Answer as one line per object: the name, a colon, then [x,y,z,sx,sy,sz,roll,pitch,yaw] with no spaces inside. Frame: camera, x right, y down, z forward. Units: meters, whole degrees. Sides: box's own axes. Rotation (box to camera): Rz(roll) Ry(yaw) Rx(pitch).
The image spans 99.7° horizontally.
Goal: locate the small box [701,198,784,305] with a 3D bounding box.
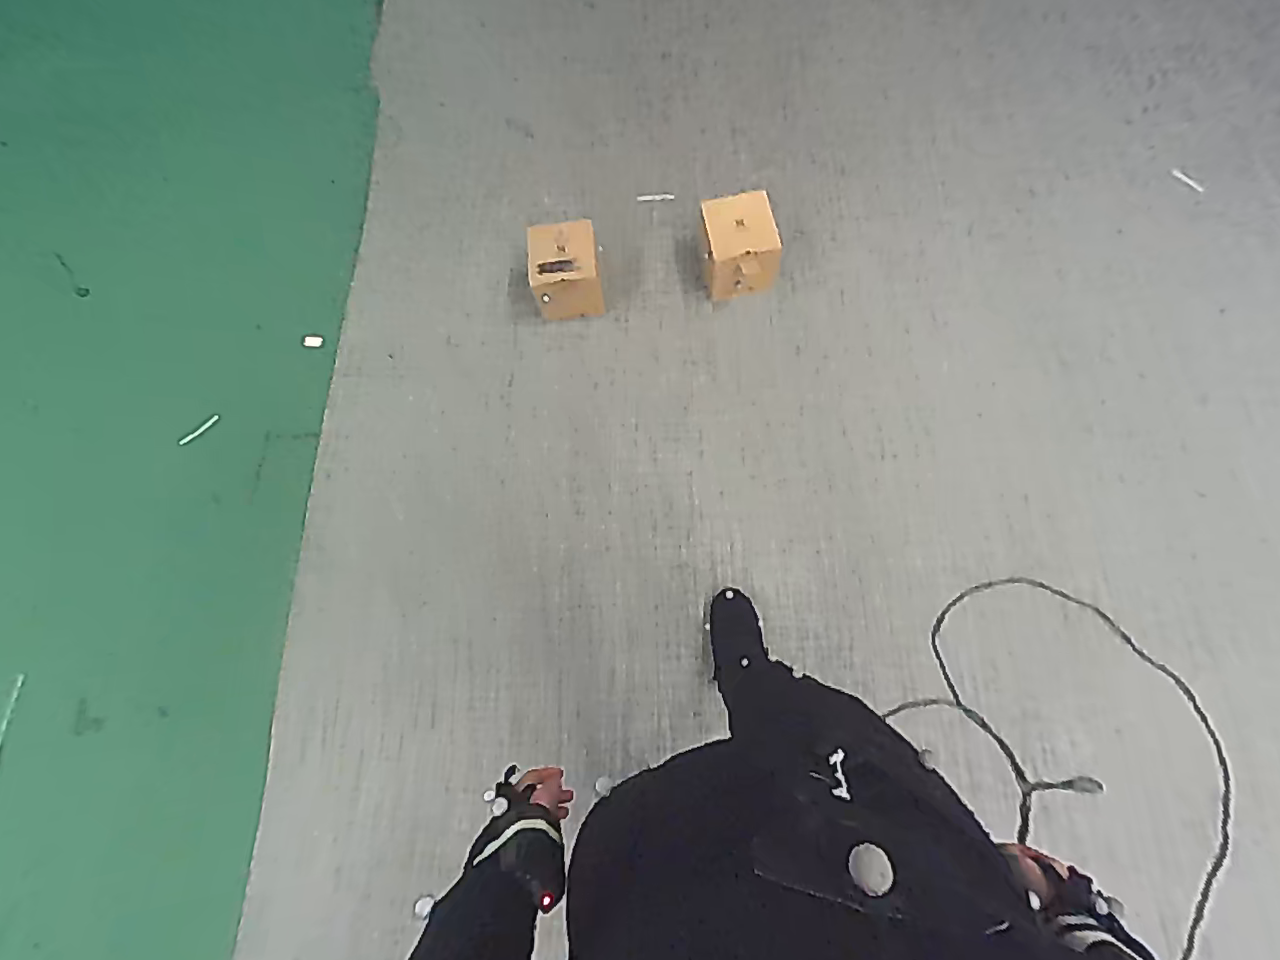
small box: [0.255,-0.581,1.388,0.168,0.176,0.179,-11,74,1]
